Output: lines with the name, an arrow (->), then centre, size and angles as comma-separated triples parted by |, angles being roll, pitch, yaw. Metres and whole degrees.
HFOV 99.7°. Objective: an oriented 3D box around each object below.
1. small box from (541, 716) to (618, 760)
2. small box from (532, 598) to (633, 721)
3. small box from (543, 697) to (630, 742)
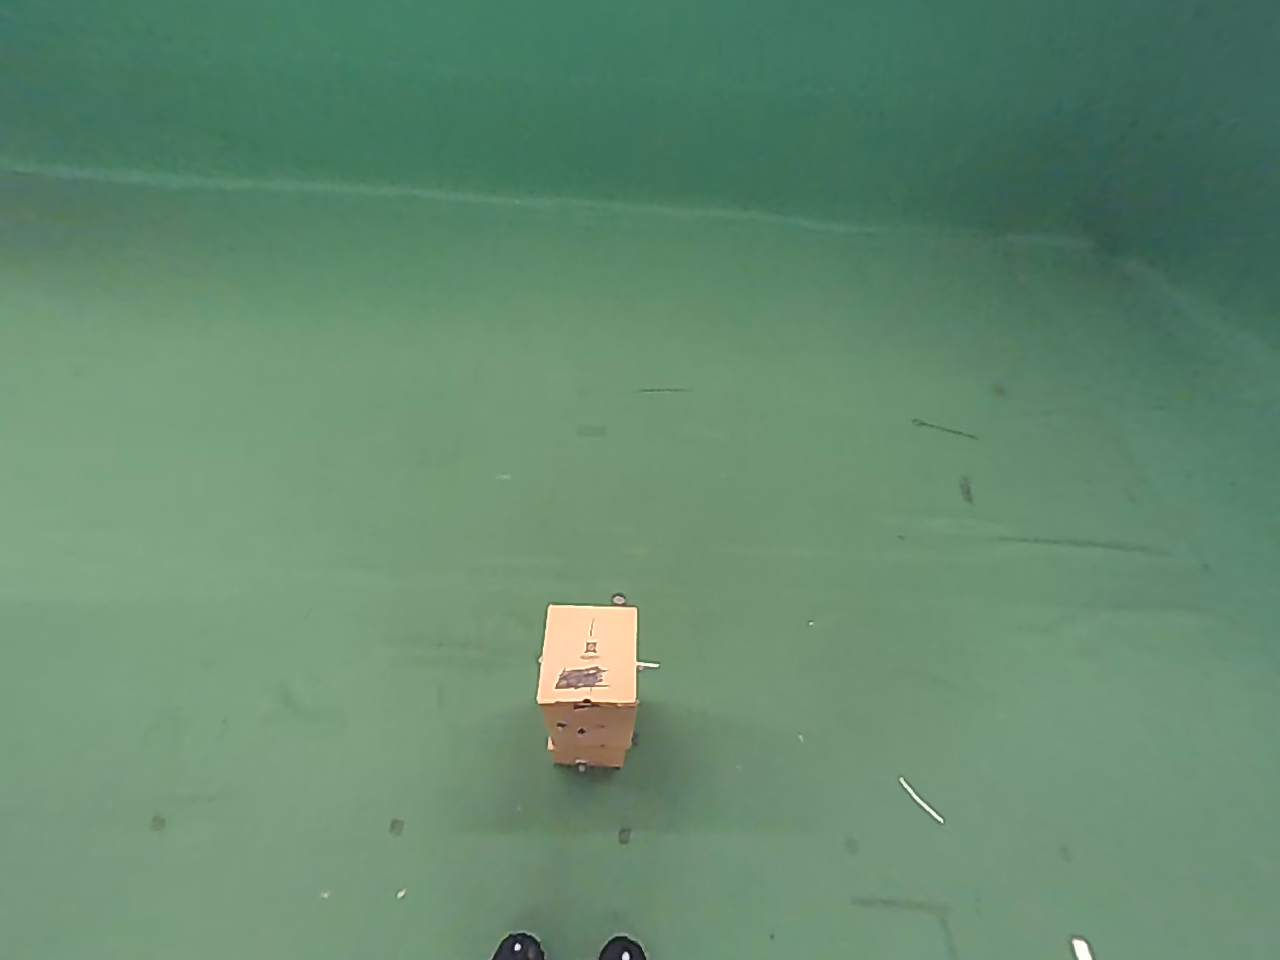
small box -> -0.127, 0.529, 1.249 | 0.168, 0.176, 0.179 | 4, 53, 0
small box -> -0.099, 0.338, 1.006 | 0.168, 0.176, 0.179 | 3, 52, -3
small box -> -0.107, 0.437, 1.138 | 0.168, 0.176, 0.179 | 3, 52, -2
